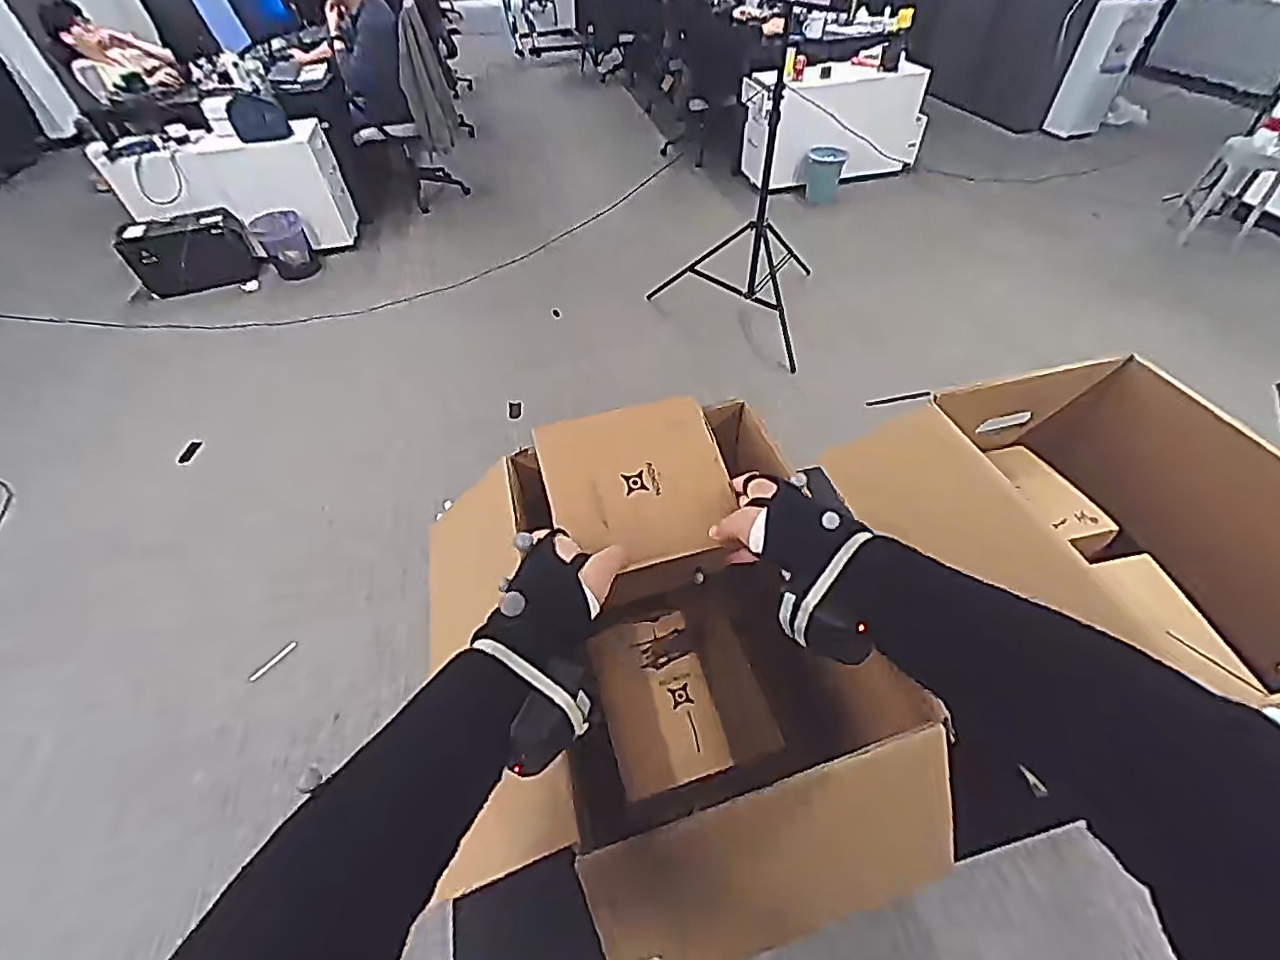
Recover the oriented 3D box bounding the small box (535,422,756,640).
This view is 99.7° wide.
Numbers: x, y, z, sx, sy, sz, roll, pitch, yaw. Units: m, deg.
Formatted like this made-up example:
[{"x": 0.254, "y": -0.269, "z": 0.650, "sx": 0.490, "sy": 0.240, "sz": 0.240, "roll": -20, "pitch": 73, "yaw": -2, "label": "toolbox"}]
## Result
[{"x": -0.004, "y": 0.062, "z": 0.574, "sx": 0.179, "sy": 0.176, "sz": 0.168, "roll": -14, "pitch": 70, "yaw": -9, "label": "small box"}]
